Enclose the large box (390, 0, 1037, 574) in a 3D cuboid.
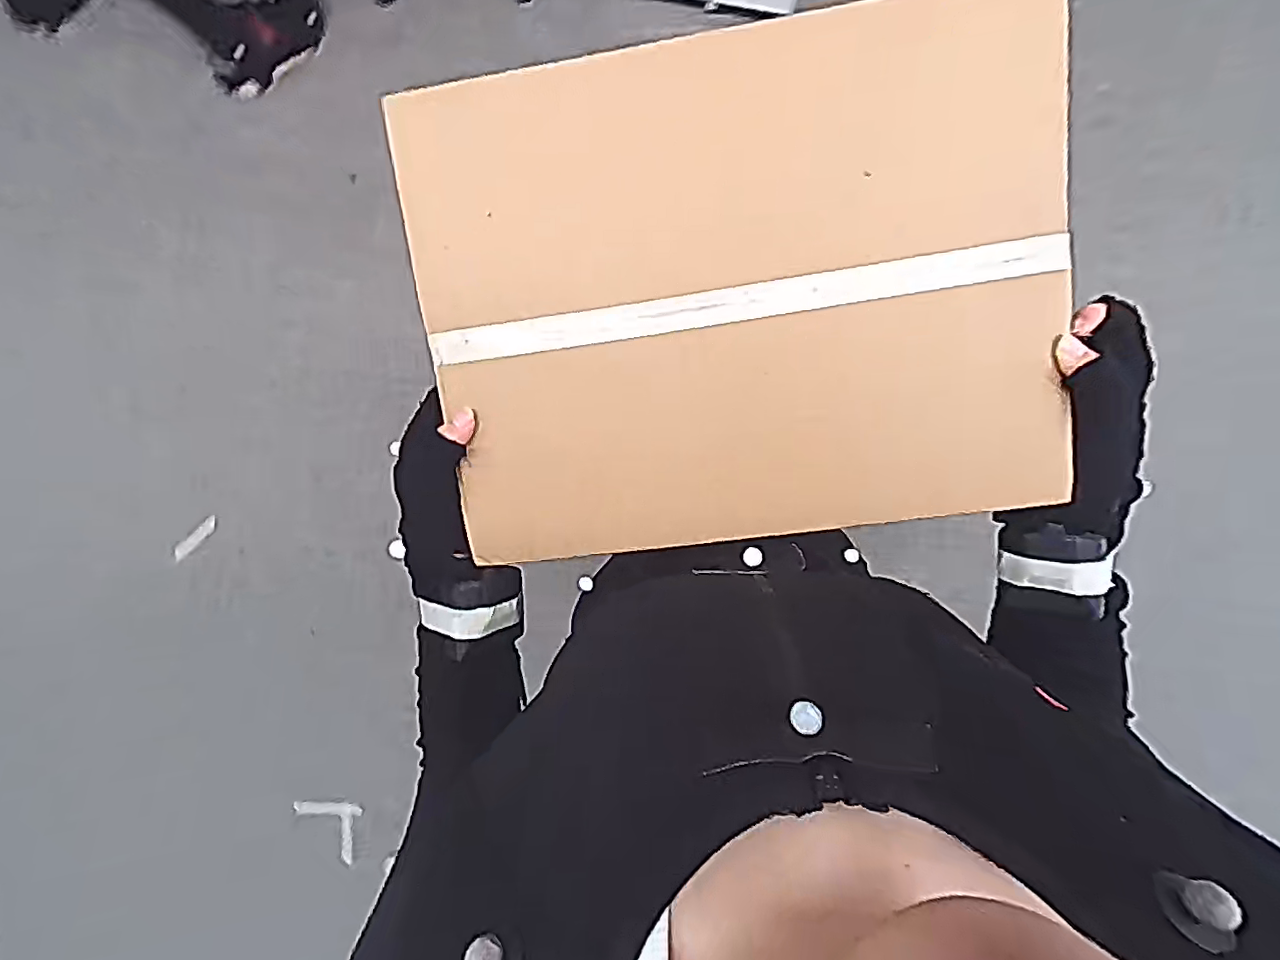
[{"bbox_3d":[0.064,-0.134,0.507,0.408,0.320,0.320,-8,99,6],"label":"large box"}]
